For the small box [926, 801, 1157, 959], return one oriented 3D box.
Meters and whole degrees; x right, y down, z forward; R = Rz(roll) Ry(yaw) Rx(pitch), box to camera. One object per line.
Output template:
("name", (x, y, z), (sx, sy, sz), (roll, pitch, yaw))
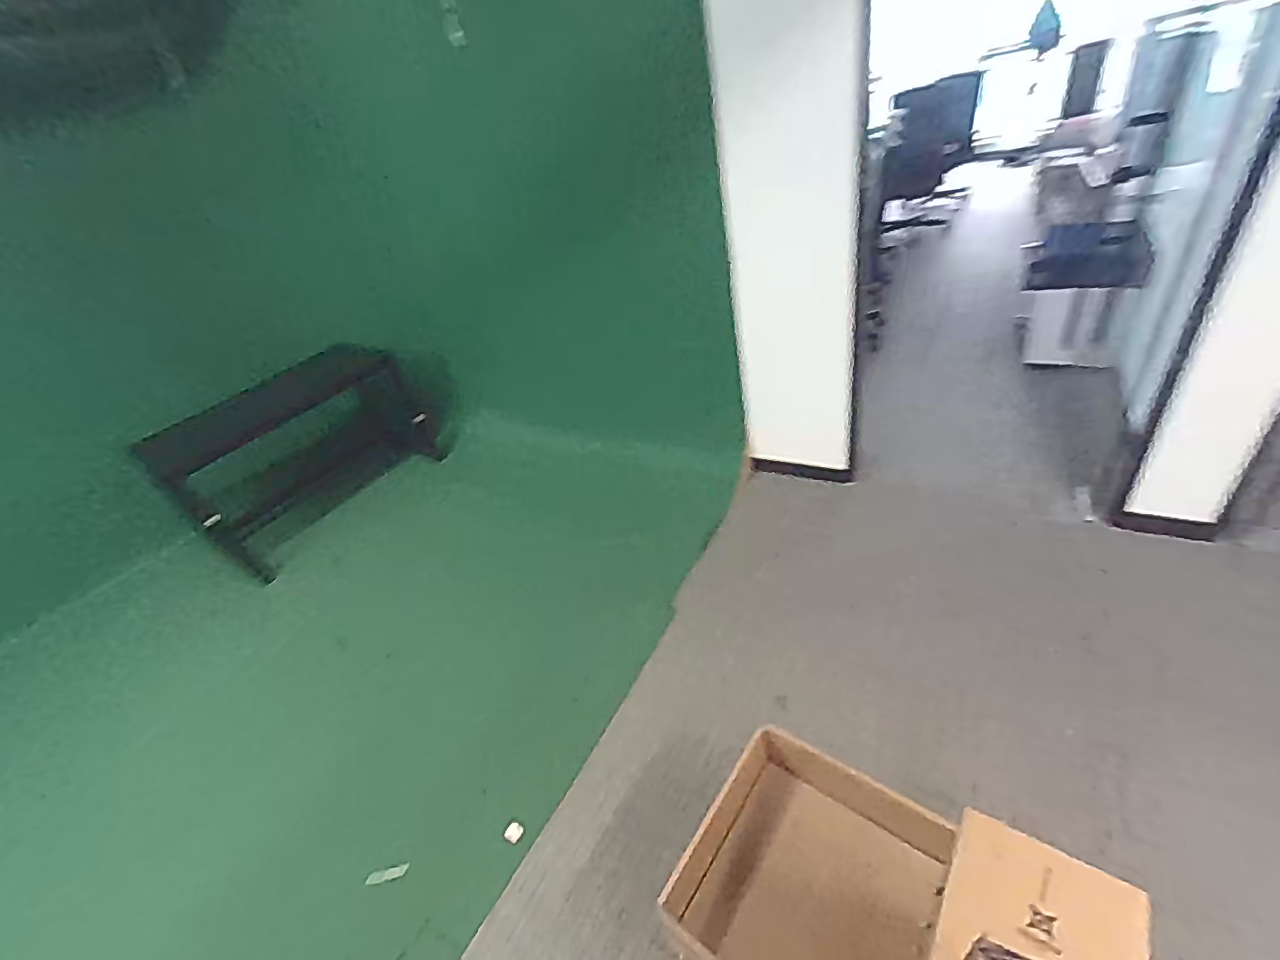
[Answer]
("small box", (0.421, 0.506, 0.585), (0.168, 0.176, 0.179), (16, 45, 35))
